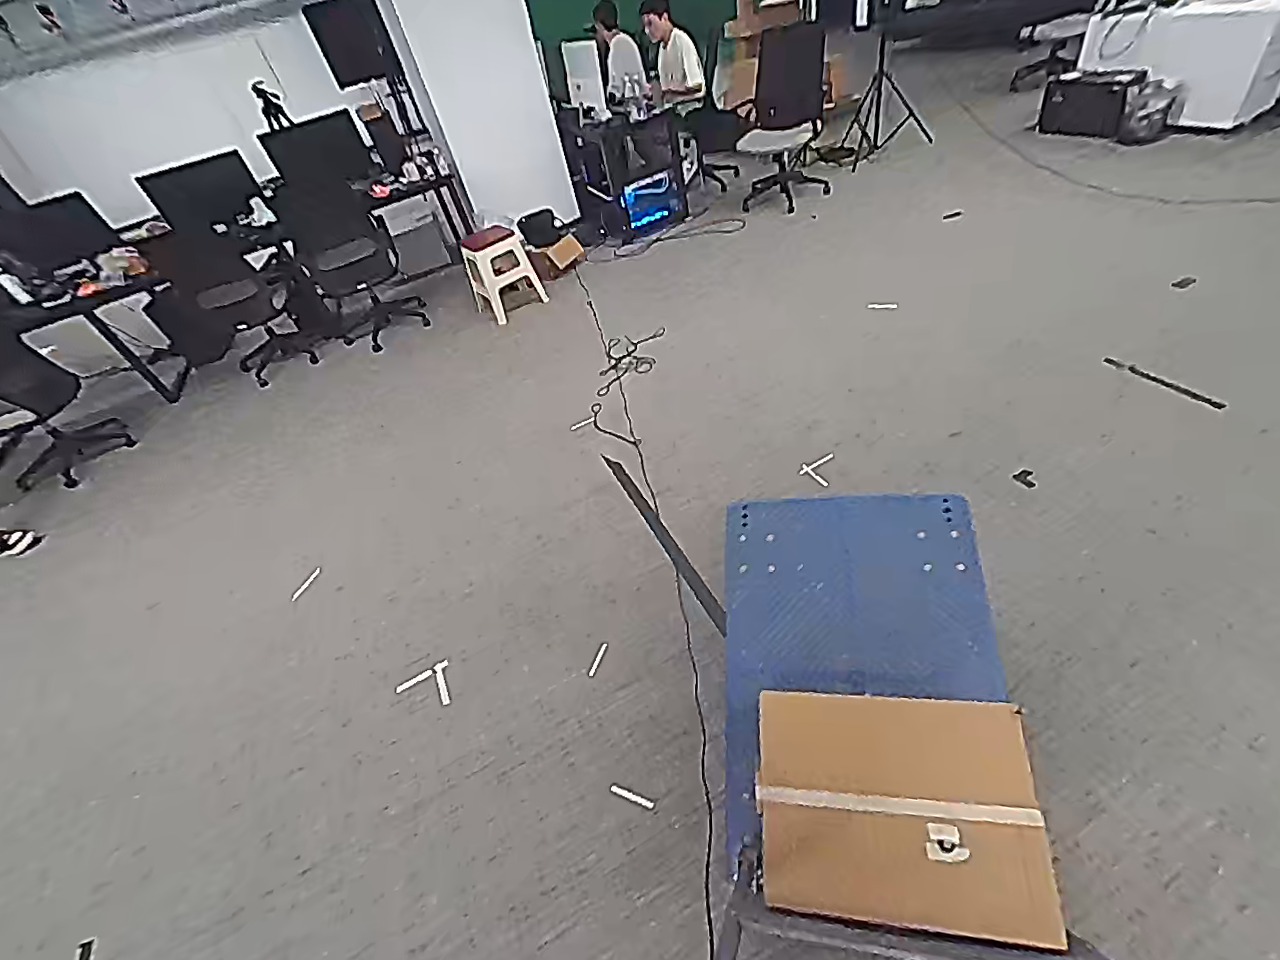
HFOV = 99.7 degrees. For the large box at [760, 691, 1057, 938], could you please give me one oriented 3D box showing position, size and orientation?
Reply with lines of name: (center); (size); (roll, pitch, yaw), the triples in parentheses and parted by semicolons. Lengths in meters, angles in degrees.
large box: (0.436, 0.575, 0.993); (0.408, 0.320, 0.320); (-2, 65, 14)
